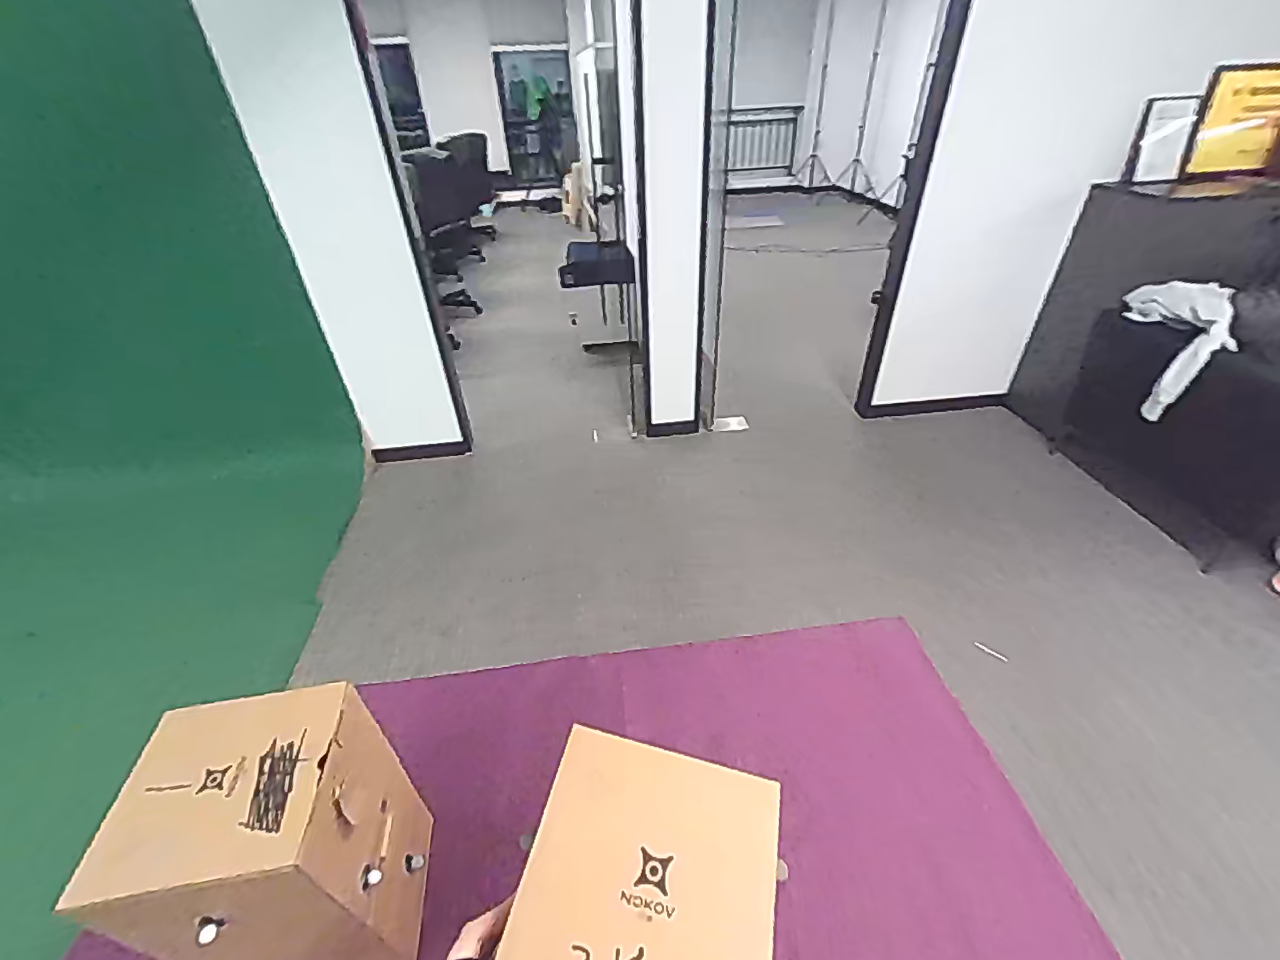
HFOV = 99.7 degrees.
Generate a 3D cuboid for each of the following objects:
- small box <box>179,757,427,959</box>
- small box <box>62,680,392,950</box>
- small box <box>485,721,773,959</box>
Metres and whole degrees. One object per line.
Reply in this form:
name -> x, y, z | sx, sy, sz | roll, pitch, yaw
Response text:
small box -> -0.365, 0.458, 0.634 | 0.179, 0.176, 0.168 | -7, 38, -7
small box -> -0.369, 0.327, 0.534 | 0.179, 0.176, 0.168 | -8, 38, -6
small box -> -0.005, 0.325, 0.418 | 0.168, 0.176, 0.179 | 13, 45, 8
